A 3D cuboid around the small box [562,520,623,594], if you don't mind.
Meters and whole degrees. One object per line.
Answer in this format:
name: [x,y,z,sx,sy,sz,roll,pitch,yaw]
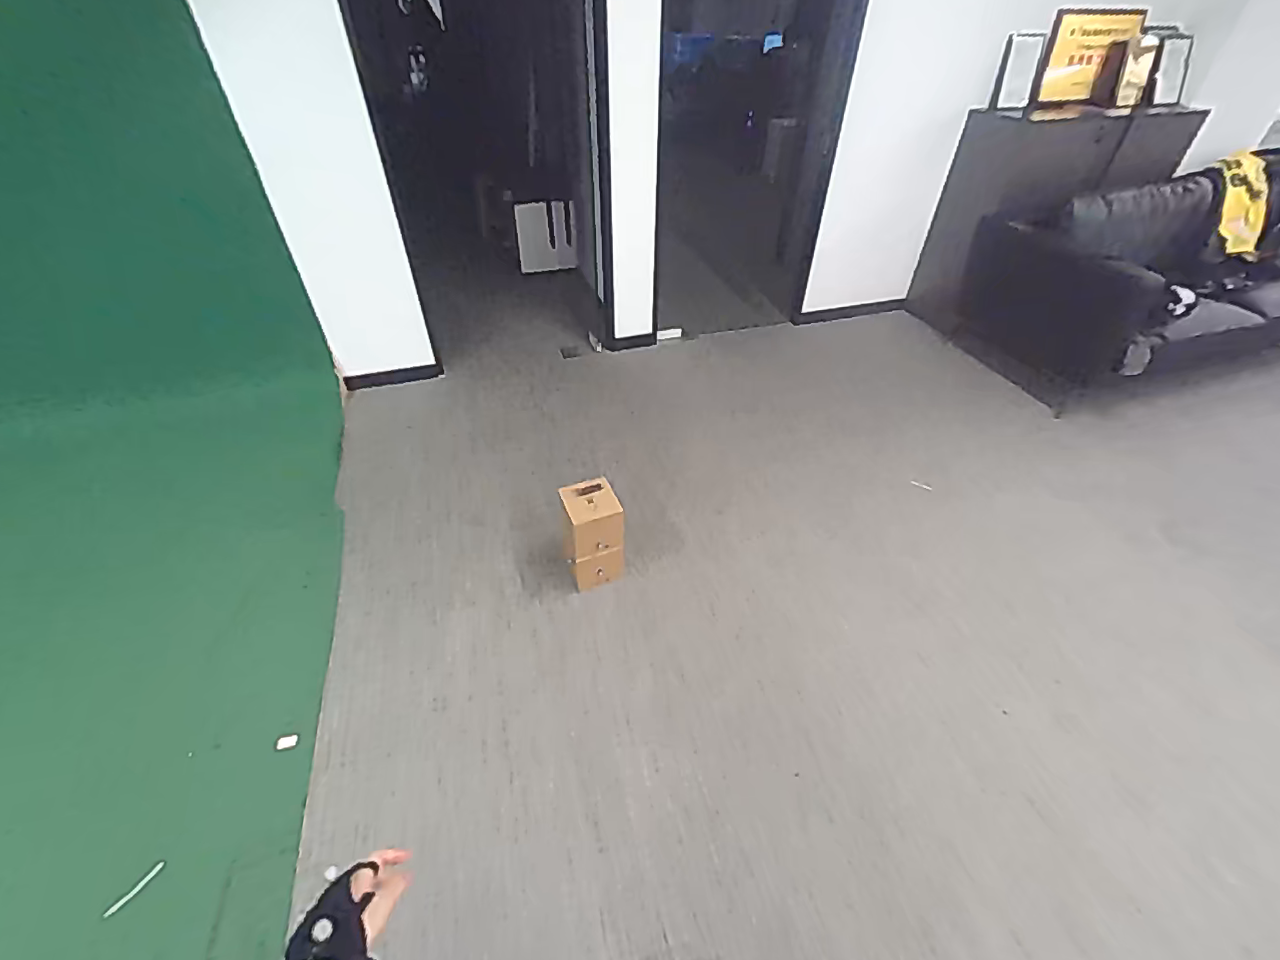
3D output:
small box: [-0.161,0.273,1.870,0.168,0.176,0.179,-16,44,-18]
